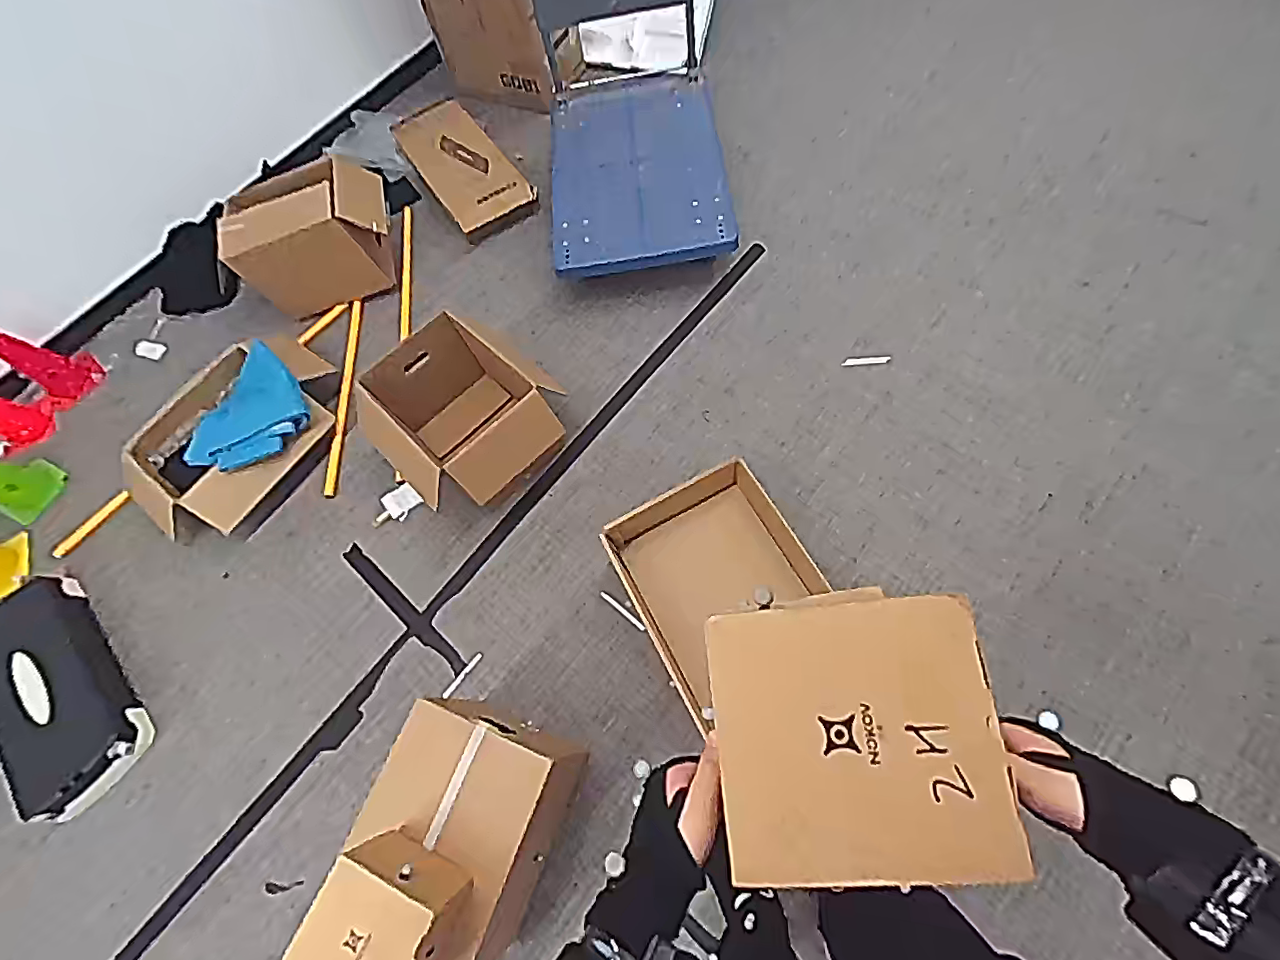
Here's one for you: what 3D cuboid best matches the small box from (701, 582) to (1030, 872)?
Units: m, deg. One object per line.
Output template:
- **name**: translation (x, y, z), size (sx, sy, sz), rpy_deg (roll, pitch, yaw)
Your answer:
- **small box**: translation (0.148, 0.174, 0.419), size (0.179, 0.176, 0.168), rpy_deg (-7, 75, 8)
